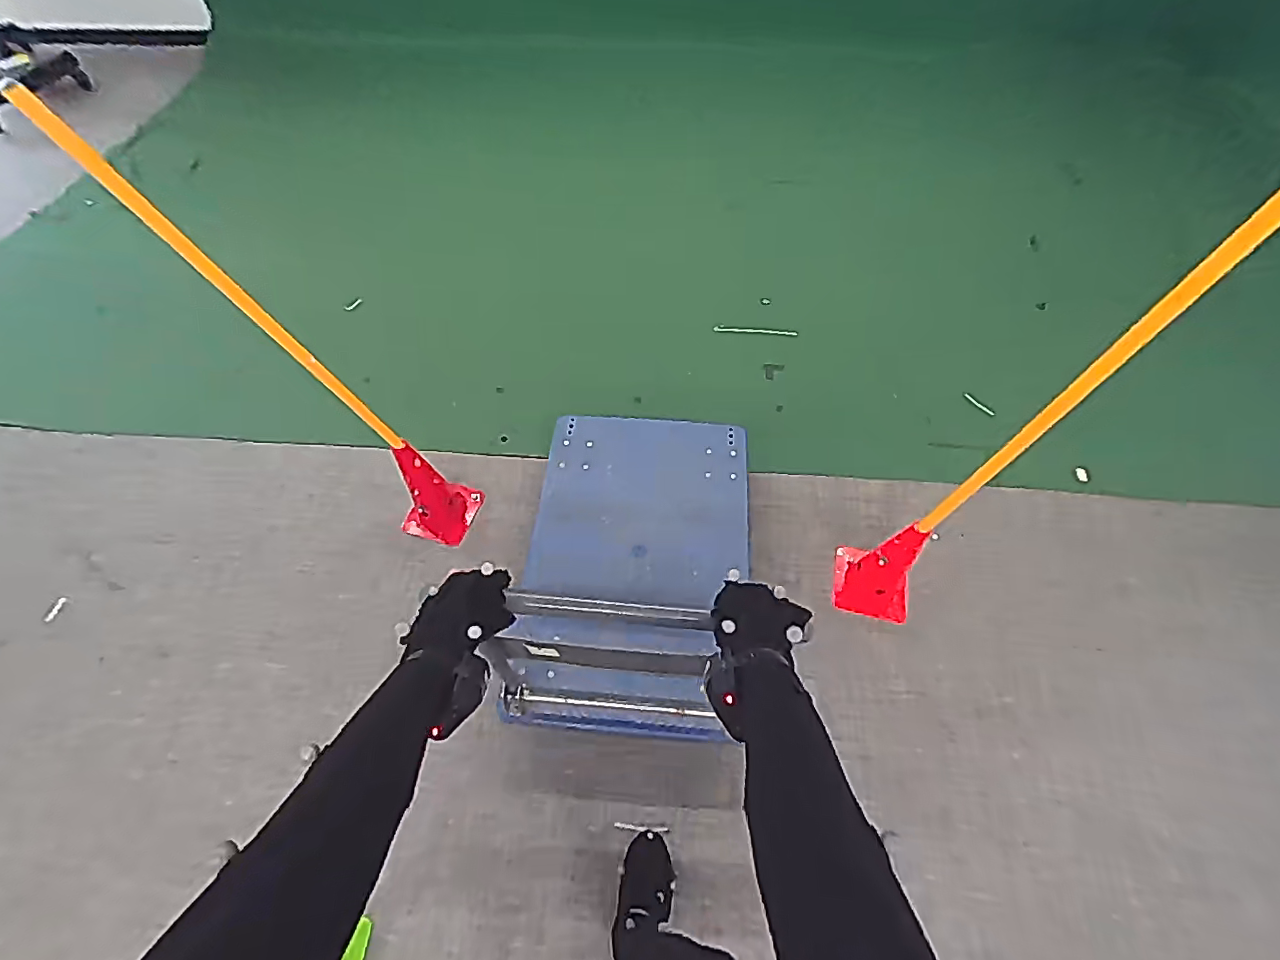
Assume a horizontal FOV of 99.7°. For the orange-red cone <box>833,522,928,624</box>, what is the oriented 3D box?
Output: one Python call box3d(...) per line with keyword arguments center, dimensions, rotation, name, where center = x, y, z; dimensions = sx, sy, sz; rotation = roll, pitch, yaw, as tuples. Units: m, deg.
box3d(center=(0.650, 0.207, 1.387), dimensions=(0.198, 0.360, 0.199), rotation=(13, 60, 10), name="orange-red cone")
